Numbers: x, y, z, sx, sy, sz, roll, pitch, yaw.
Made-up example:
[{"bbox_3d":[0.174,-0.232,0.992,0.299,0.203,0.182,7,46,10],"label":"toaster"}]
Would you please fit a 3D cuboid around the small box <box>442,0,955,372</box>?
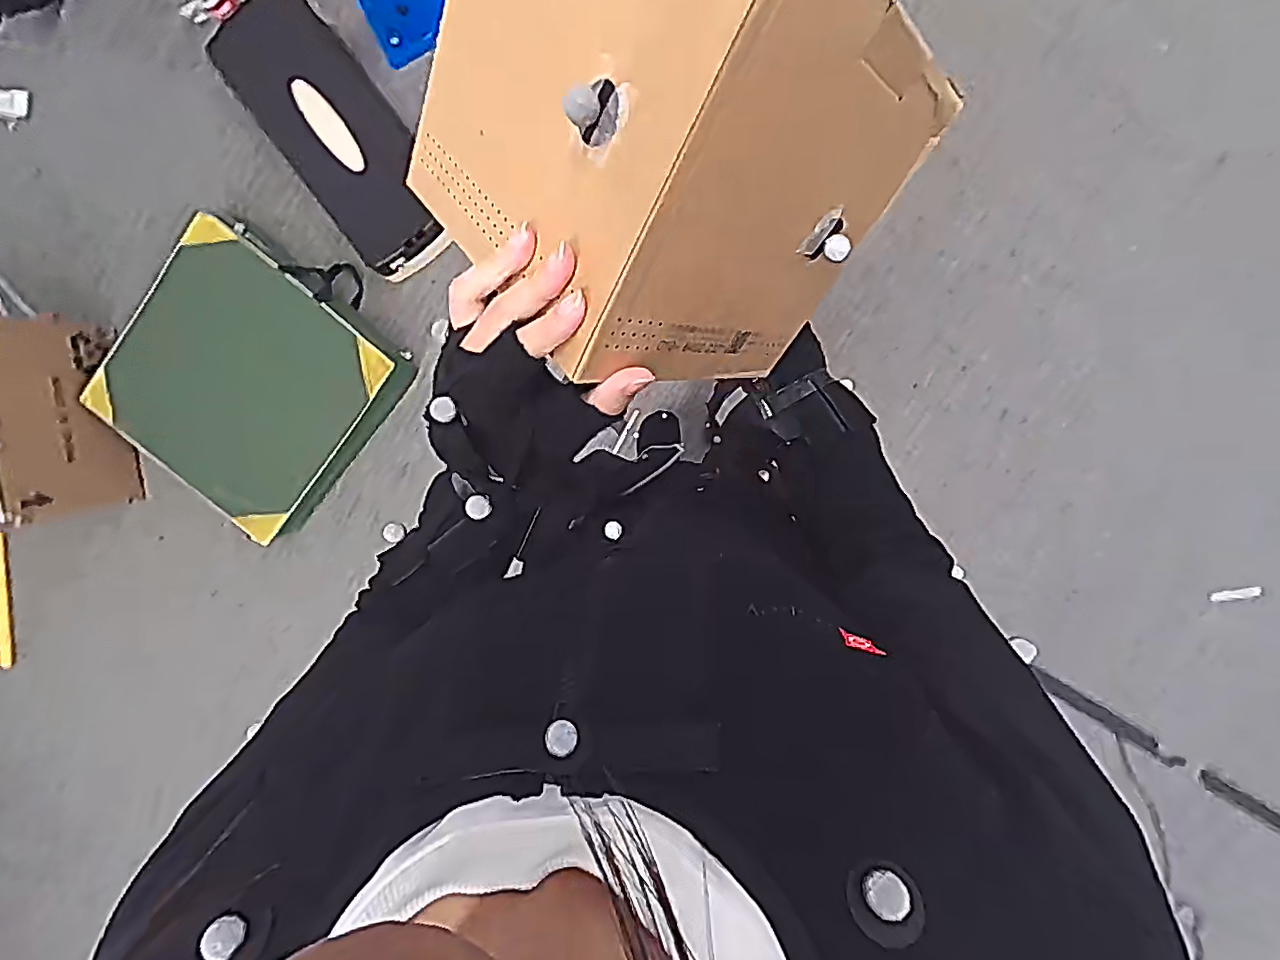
[{"bbox_3d":[0.018,-0.175,0.294,0.179,0.168,0.176,52,128,24],"label":"small box"}]
